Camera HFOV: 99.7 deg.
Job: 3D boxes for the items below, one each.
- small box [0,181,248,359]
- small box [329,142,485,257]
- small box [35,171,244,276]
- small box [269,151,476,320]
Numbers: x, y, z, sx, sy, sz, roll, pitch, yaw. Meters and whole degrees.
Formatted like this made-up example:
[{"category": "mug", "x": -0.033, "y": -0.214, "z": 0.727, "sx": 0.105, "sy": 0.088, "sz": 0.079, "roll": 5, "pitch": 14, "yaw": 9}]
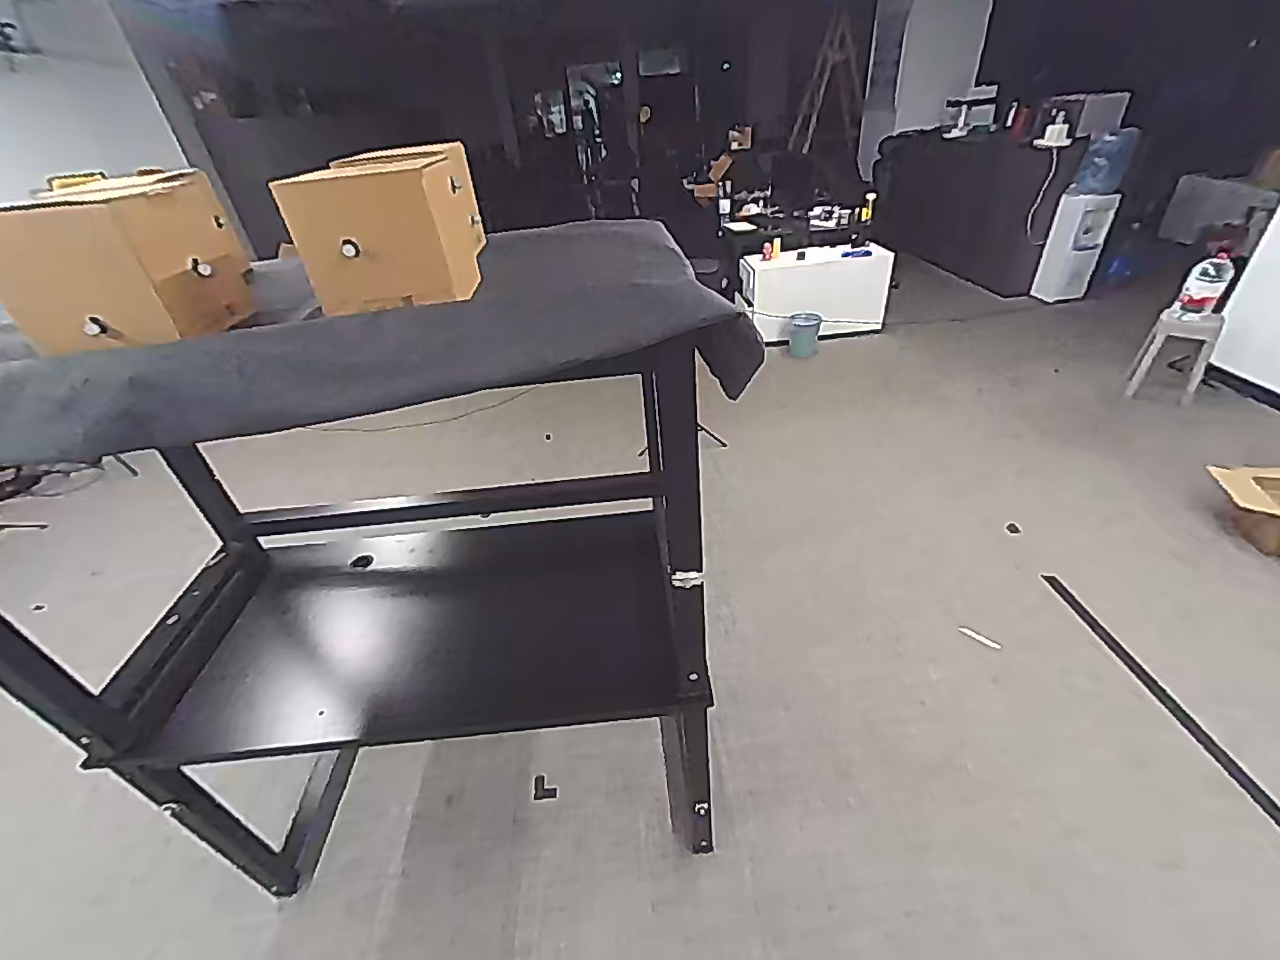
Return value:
[{"category": "small box", "x": -0.641, "y": -0.261, "z": 0.670, "sx": 0.179, "sy": 0.176, "sz": 0.168, "roll": -6, "pitch": 33, "yaw": -2}, {"category": "small box", "x": -0.386, "y": -0.472, "z": 0.933, "sx": 0.179, "sy": 0.176, "sz": 0.168, "roll": -6, "pitch": 36, "yaw": 0}, {"category": "small box", "x": -0.815, "y": -0.410, "z": 0.911, "sx": 0.168, "sy": 0.176, "sz": 0.179, "roll": -11, "pitch": 35, "yaw": -5}, {"category": "small box", "x": -0.322, "y": -0.314, "z": 0.700, "sx": 0.168, "sy": 0.176, "sz": 0.179, "roll": -8, "pitch": 34, "yaw": -2}]
